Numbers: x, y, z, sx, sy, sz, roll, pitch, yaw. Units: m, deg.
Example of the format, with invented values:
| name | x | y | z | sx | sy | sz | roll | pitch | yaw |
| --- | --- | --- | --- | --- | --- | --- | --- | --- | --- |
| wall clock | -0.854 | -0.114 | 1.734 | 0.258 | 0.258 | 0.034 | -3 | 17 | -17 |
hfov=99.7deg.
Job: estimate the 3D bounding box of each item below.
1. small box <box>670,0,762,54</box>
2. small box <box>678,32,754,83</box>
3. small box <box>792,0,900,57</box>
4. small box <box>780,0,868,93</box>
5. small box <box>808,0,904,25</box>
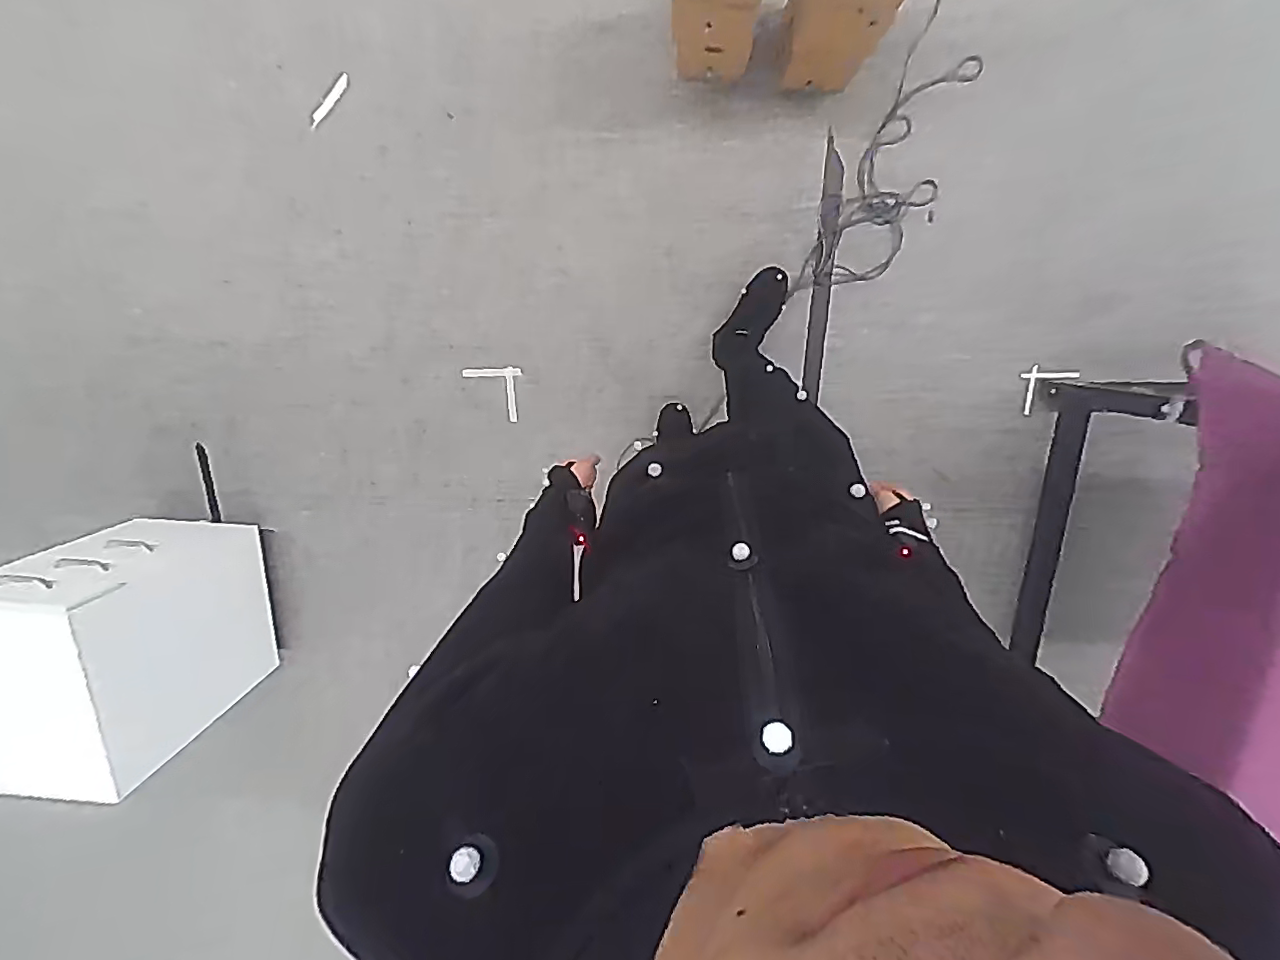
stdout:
| name | x | y | z | sx | sy | sz | roll | pitch | yaw |
| --- | --- | --- | --- | --- | --- | --- | --- | --- | --- |
| small box | 0.161 | -0.999 | 1.089 | 0.179 | 0.176 | 0.168 | 11 | 105 | 2 |
| small box | 0.178 | -1.057 | 1.243 | 0.168 | 0.176 | 0.179 | 7 | 106 | 2 |
| small box | 0.413 | -0.983 | 1.083 | 0.179 | 0.176 | 0.168 | 4 | 105 | 3 |
| small box | 0.423 | -1.026 | 1.239 | 0.168 | 0.176 | 0.179 | 3 | 106 | 3 |
| small box | 0.401 | -0.939 | 0.925 | 0.168 | 0.176 | 0.179 | 11 | 104 | 1 |
